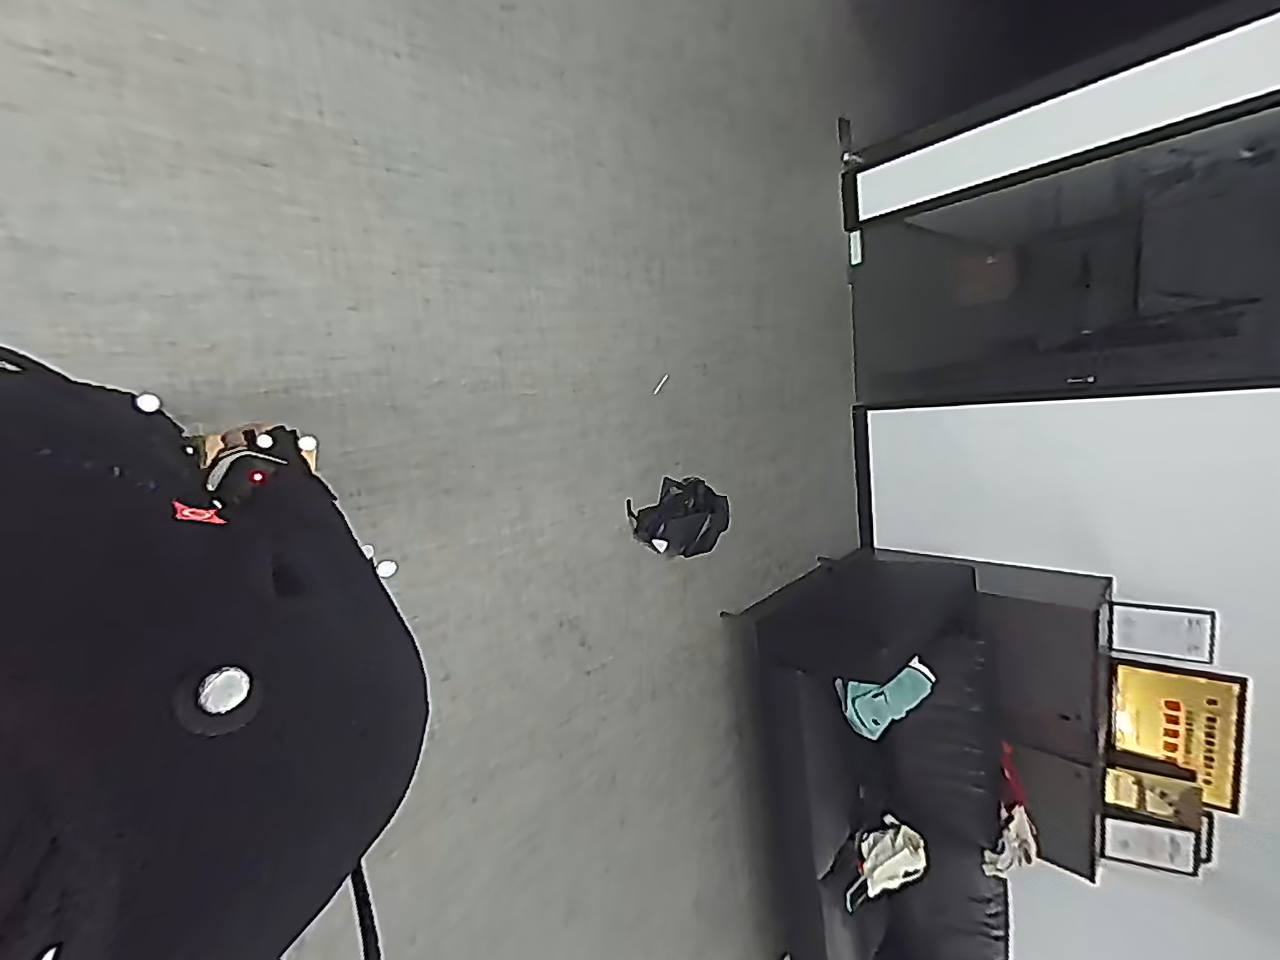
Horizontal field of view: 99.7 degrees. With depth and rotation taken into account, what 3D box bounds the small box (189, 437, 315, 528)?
[{"bbox_3d":[-0.780,0.004,1.086,0.179,0.176,0.168,6,89,-43],"label":"small box"}]
